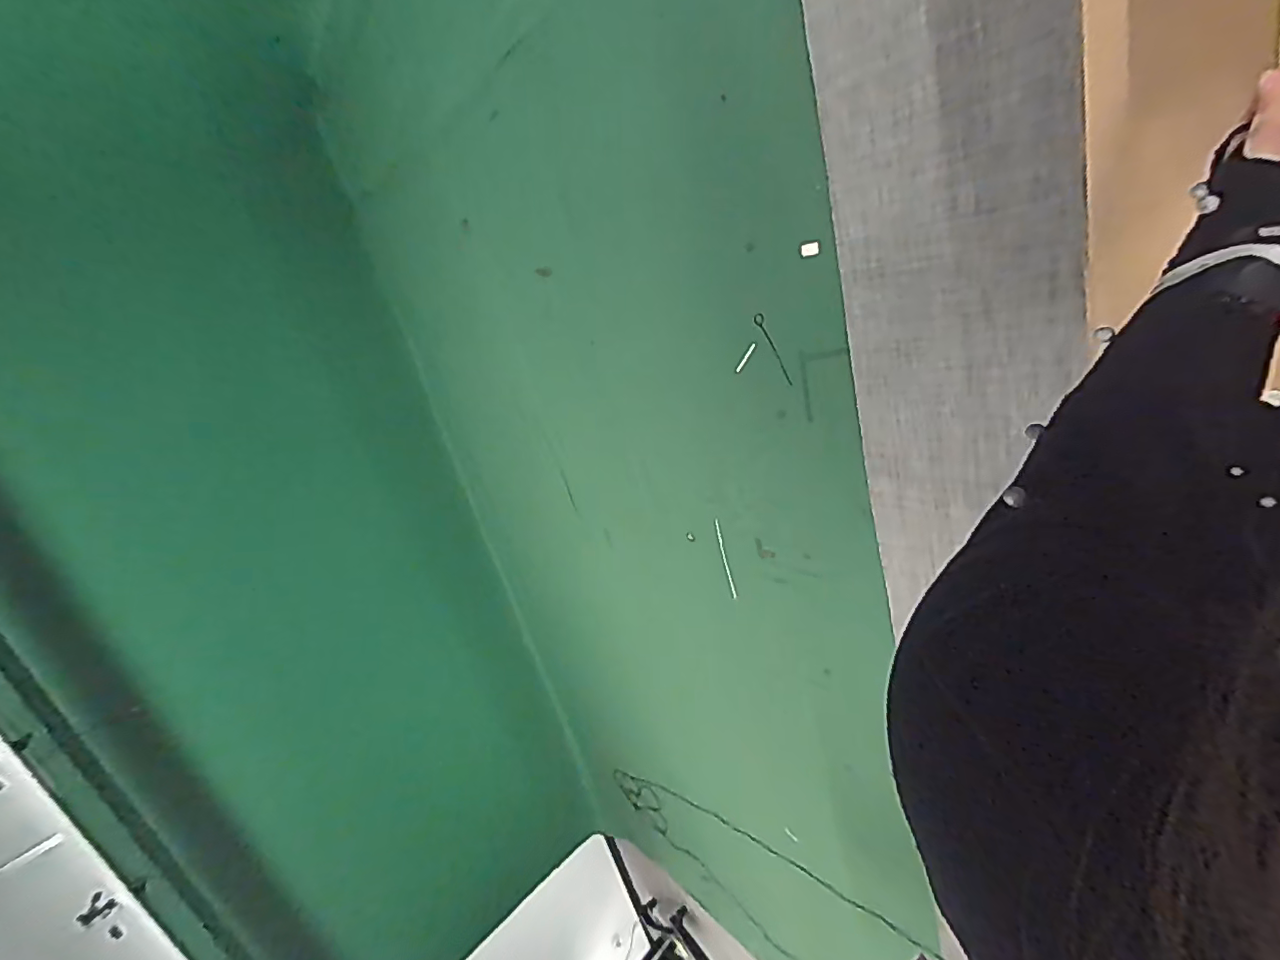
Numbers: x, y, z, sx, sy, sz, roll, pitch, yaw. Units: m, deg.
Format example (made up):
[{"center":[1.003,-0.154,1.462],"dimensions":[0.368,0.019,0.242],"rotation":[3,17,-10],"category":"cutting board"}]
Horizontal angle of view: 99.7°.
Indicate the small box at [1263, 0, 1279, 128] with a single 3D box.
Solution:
[{"center":[0.580,-0.375,0.382],"dimensions":[0.168,0.176,0.179],"rotation":[8,117,52],"category":"small box"}]
